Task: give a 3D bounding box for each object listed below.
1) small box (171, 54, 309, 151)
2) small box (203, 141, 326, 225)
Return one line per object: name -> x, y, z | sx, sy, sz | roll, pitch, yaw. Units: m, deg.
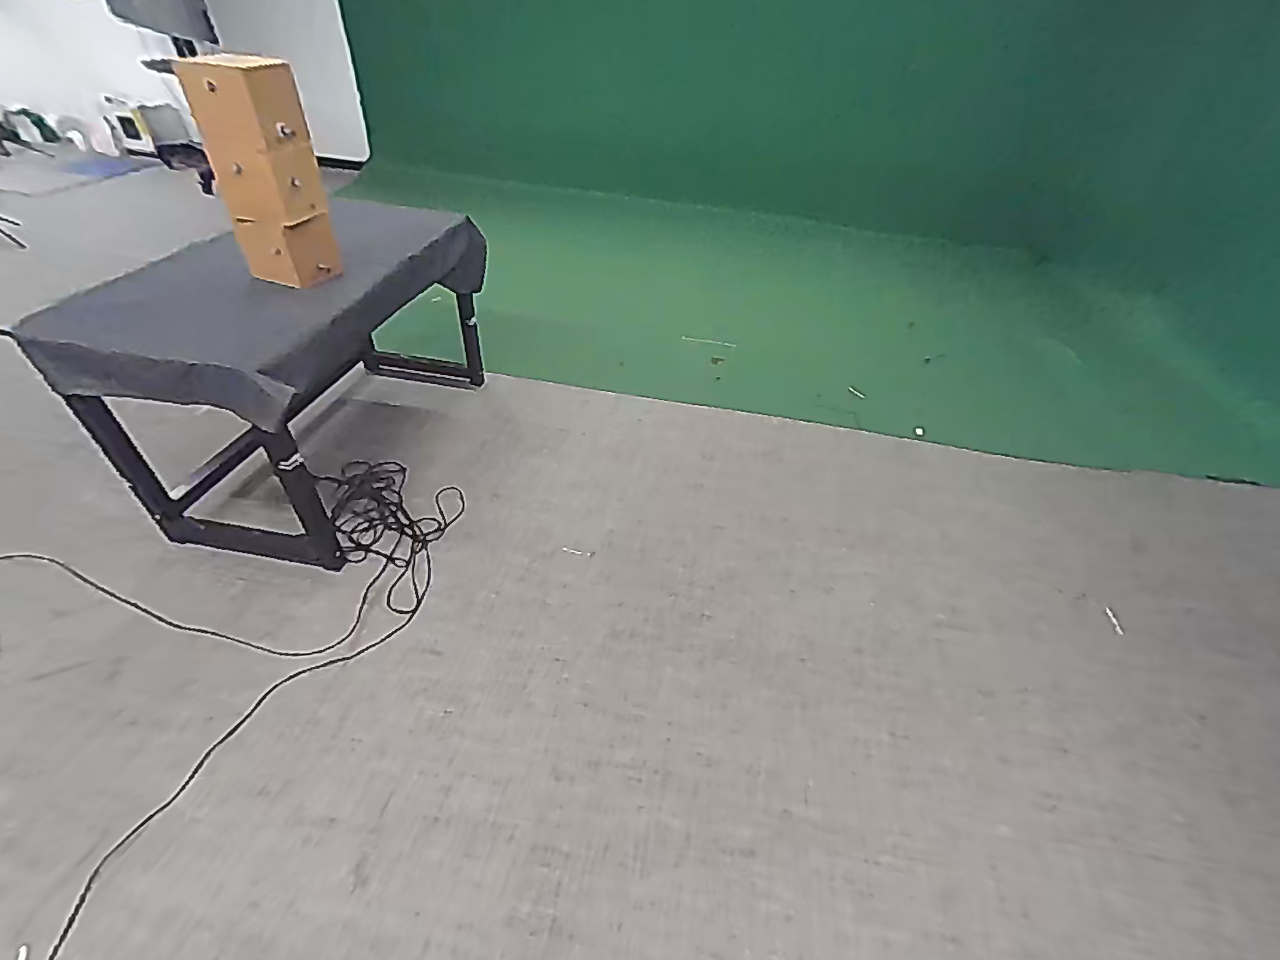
small box -> -0.944, -0.903, 1.296 | 0.179, 0.176, 0.168 | 10, 43, 4
small box -> -0.955, -0.776, 1.398 | 0.179, 0.176, 0.168 | 11, 42, 6
